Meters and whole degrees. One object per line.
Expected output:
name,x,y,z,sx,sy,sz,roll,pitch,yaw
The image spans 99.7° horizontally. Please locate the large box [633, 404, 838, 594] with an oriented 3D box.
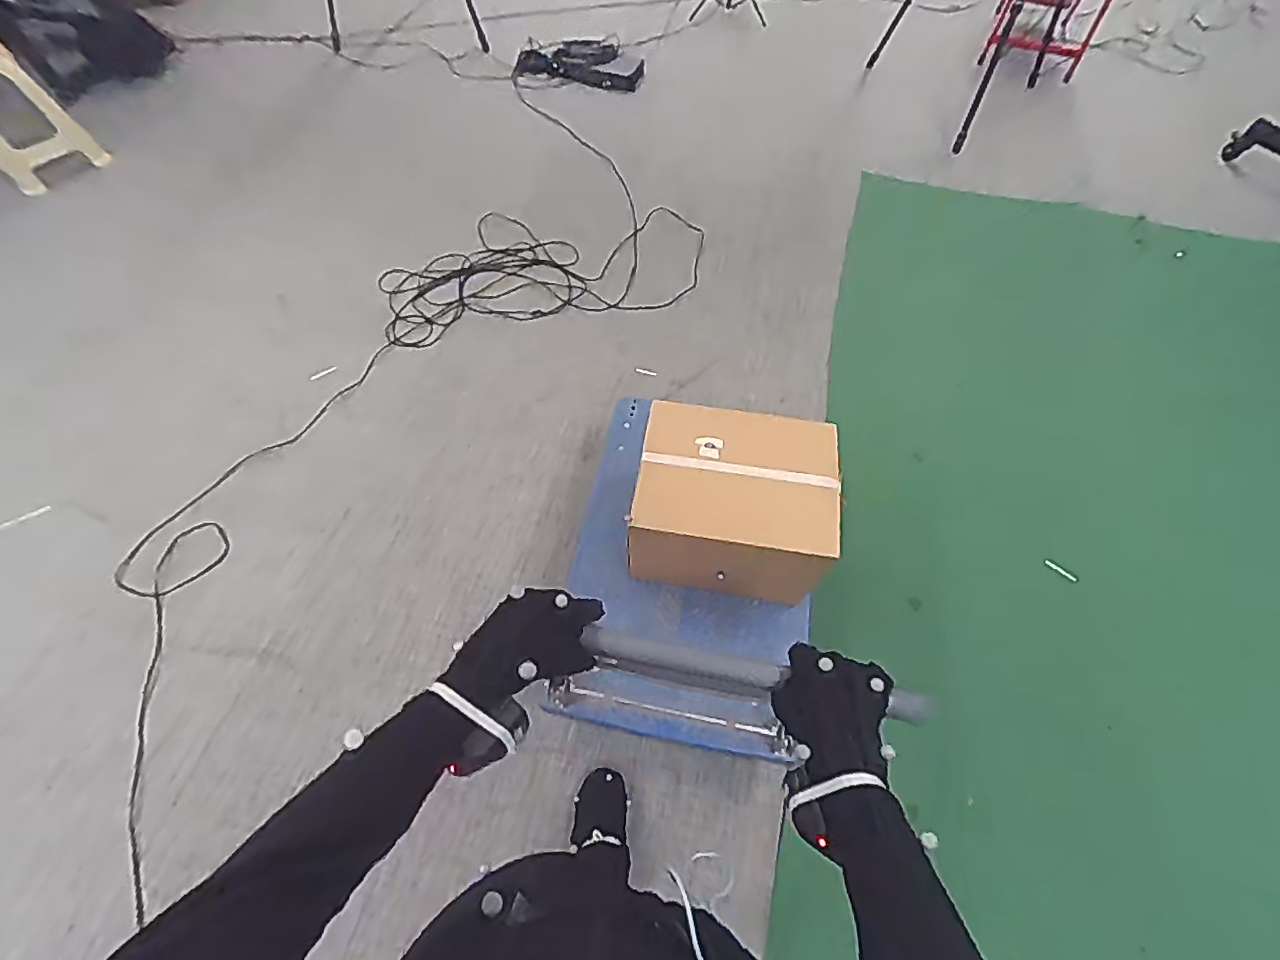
large box,0.207,0.054,1.248,0.408,0.320,0.320,7,61,5
